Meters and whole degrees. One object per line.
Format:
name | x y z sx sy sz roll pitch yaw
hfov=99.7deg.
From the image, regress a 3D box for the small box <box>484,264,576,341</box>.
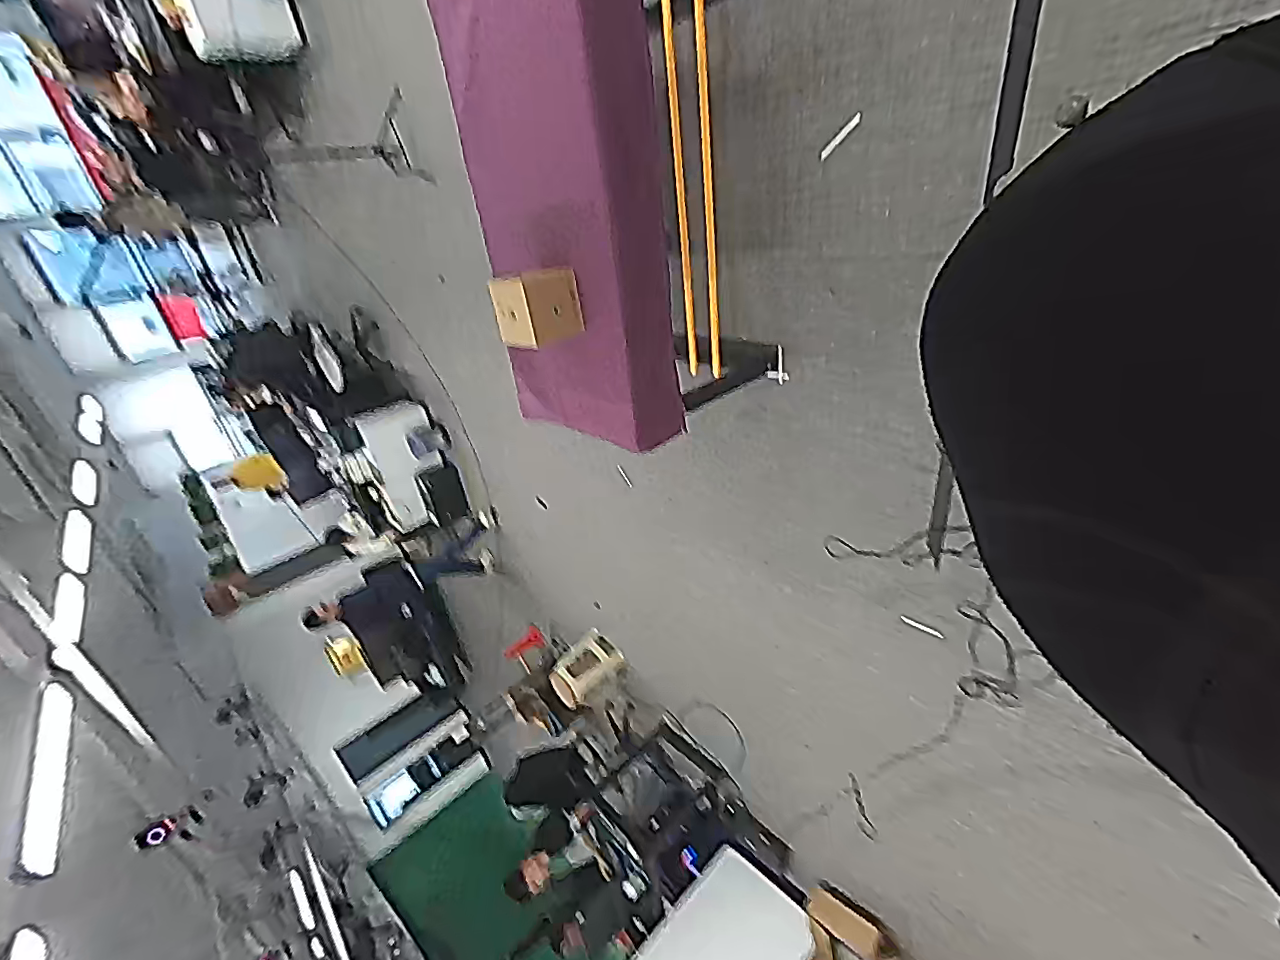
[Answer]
small box | -0.288 -0.485 1.463 0.179 0.176 0.168 20 129 43
